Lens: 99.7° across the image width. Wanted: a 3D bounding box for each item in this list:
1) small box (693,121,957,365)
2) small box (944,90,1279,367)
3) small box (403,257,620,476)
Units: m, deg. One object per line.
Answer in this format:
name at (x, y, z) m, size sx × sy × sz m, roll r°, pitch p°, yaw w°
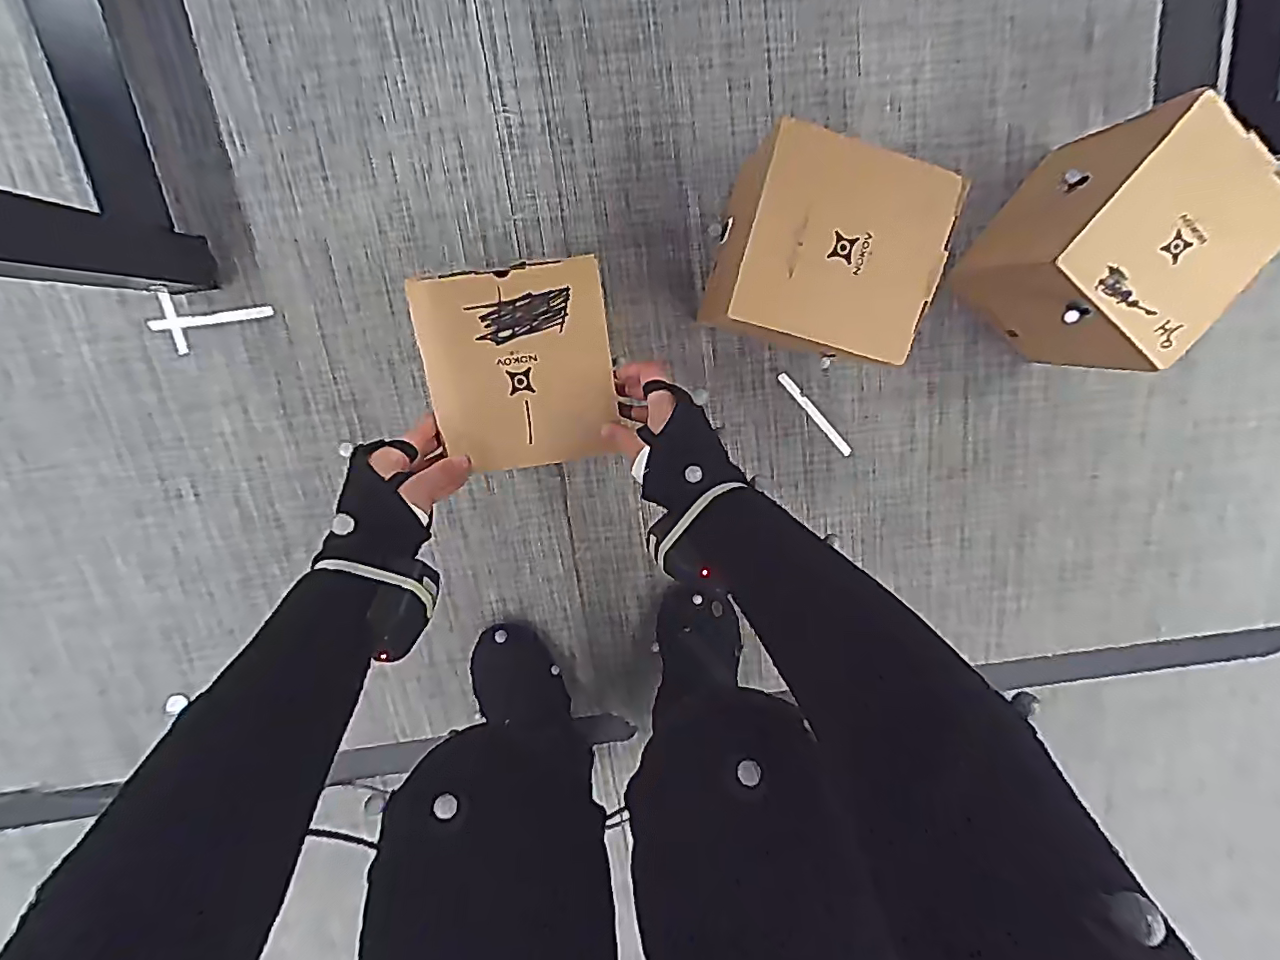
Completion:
small box at (0.166, -0.222, 0.550) m, size 0.179 × 0.176 × 0.168 m, roll 13°, pitch 103°, yaw -6°
small box at (0.469, -0.240, 0.564) m, size 0.168 × 0.176 × 0.179 m, roll 35°, pitch 100°, yaw -12°
small box at (-0.116, -0.118, 0.555) m, size 0.168 × 0.176 × 0.179 m, roll -9°, pitch 107°, yaw -2°
